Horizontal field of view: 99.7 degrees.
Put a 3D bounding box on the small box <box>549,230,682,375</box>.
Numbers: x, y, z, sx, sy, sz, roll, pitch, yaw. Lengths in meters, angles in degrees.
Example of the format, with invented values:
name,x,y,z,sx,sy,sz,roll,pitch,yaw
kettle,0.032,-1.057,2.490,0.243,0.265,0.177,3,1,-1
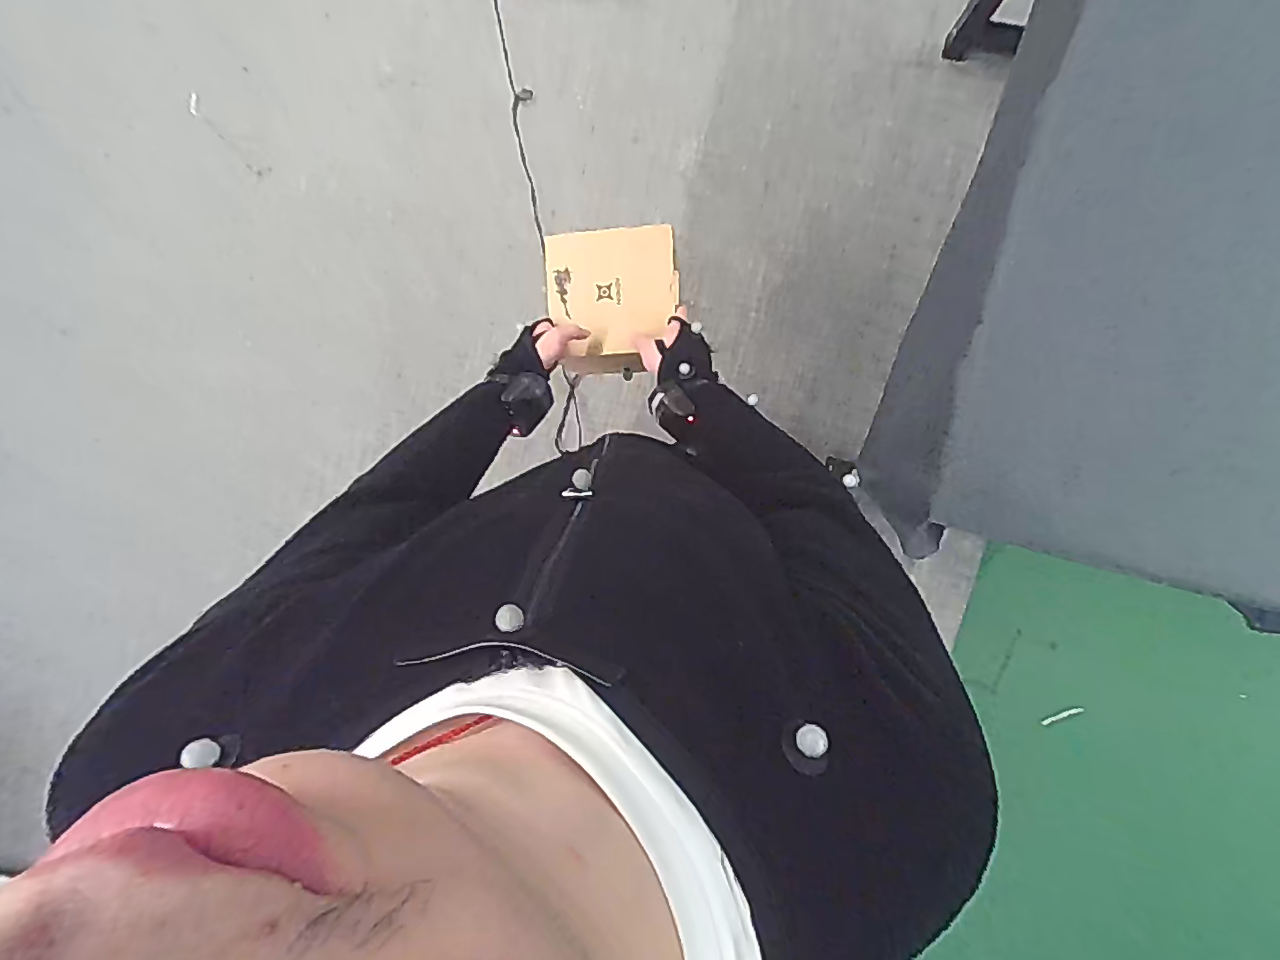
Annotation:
name,x,y,z,sx,sy,sz,roll,pitch,yaw
small box,-0.027,-0.251,0.800,0.179,0.176,0.168,-2,93,6

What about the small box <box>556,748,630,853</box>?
name,x,y,z,sx,sy,sz,roll,pitch,yaw
small box,-0.130,0.931,1.581,0.168,0.176,0.179,16,97,1
